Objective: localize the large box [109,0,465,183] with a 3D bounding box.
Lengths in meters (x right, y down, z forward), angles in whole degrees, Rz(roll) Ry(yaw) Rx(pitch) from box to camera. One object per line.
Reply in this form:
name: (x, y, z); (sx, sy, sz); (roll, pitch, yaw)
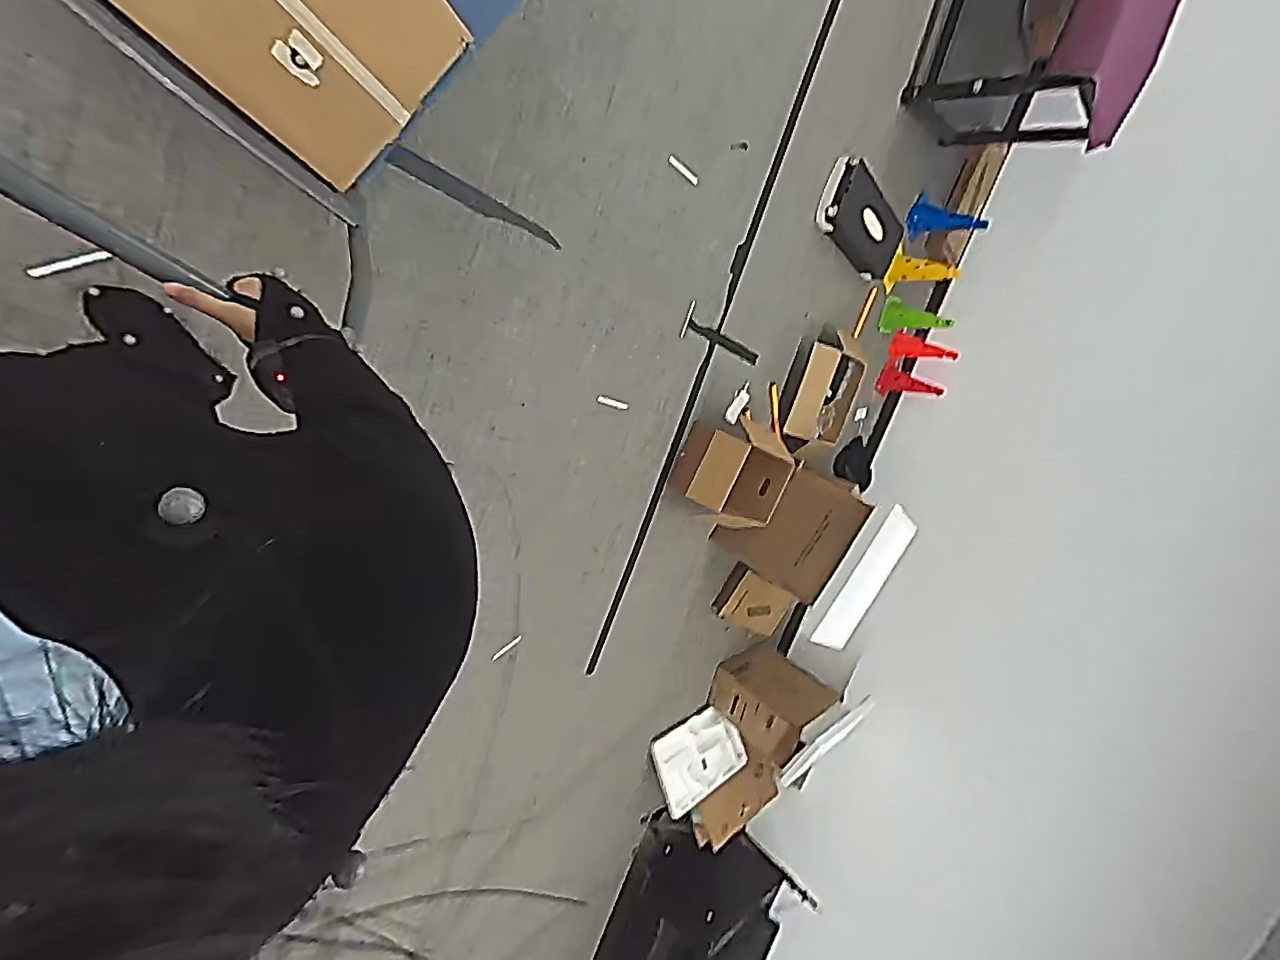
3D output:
large box: (-0.541, -0.744, 0.781); (0.320, 0.320, 0.408); (-40, 142, 12)
